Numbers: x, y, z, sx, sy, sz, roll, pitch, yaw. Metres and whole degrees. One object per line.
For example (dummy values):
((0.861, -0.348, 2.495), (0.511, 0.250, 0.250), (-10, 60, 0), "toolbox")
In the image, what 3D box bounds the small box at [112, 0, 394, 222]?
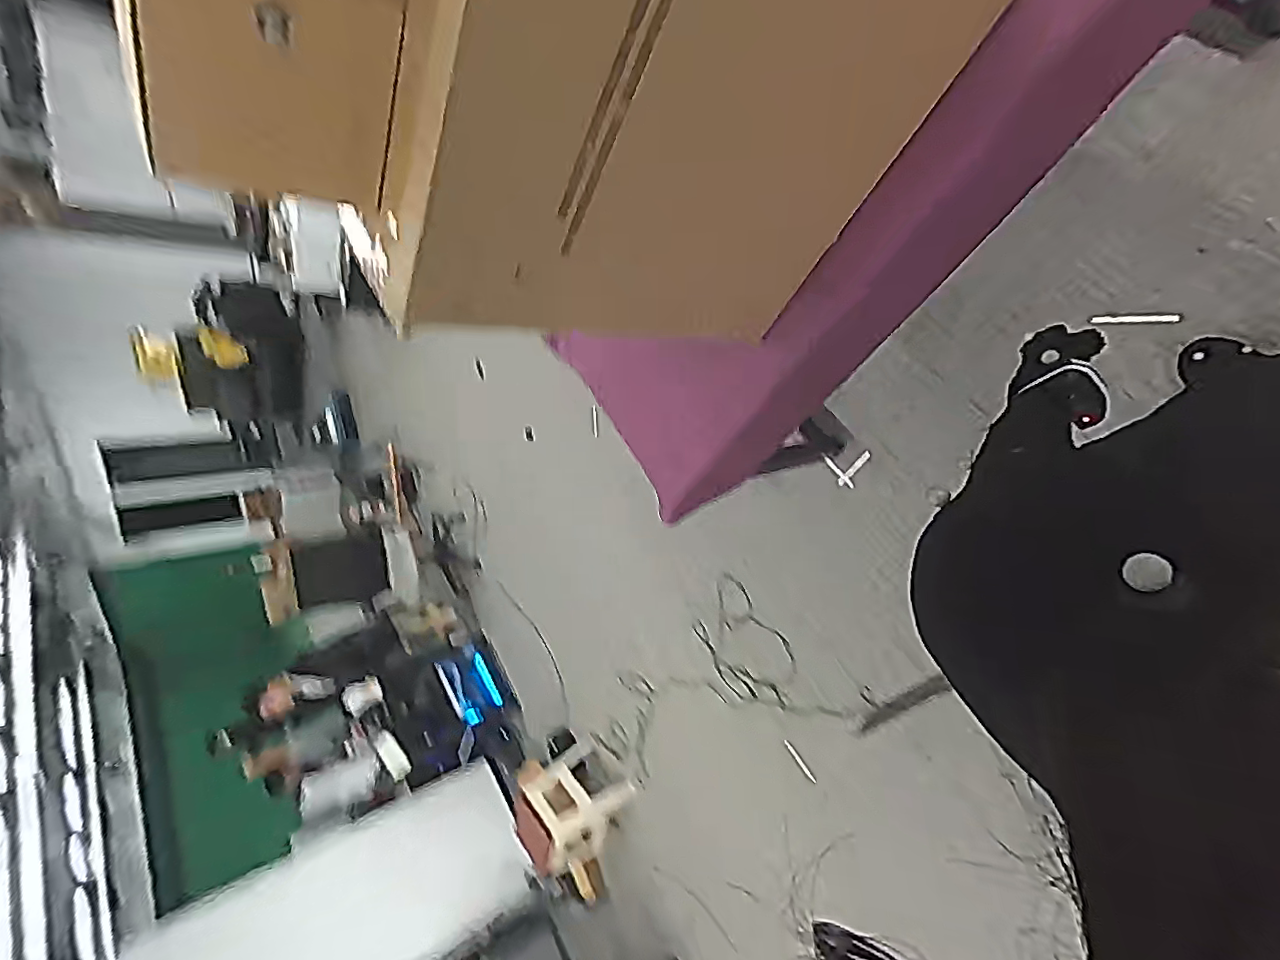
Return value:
((-0.326, -0.353, 0.462), (0.168, 0.176, 0.179), (53, 133, 27), "small box")
